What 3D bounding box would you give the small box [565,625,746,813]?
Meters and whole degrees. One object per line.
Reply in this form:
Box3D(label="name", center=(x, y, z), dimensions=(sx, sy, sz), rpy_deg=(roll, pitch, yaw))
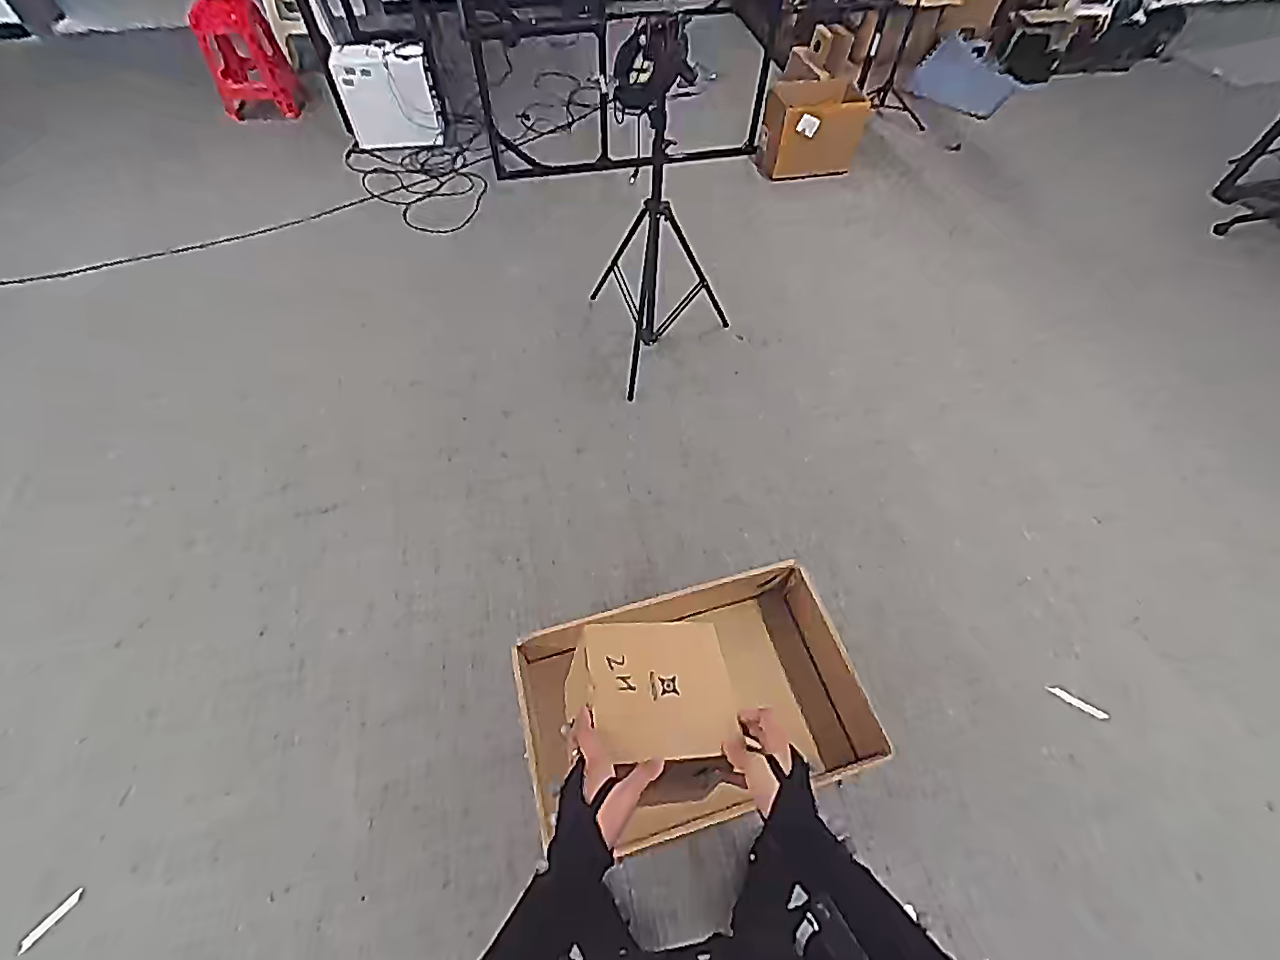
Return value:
Box3D(label="small box", center=(0.006, 0.298, 0.681), dimensions=(0.179, 0.176, 0.168), rpy_deg=(3, 44, -15))
